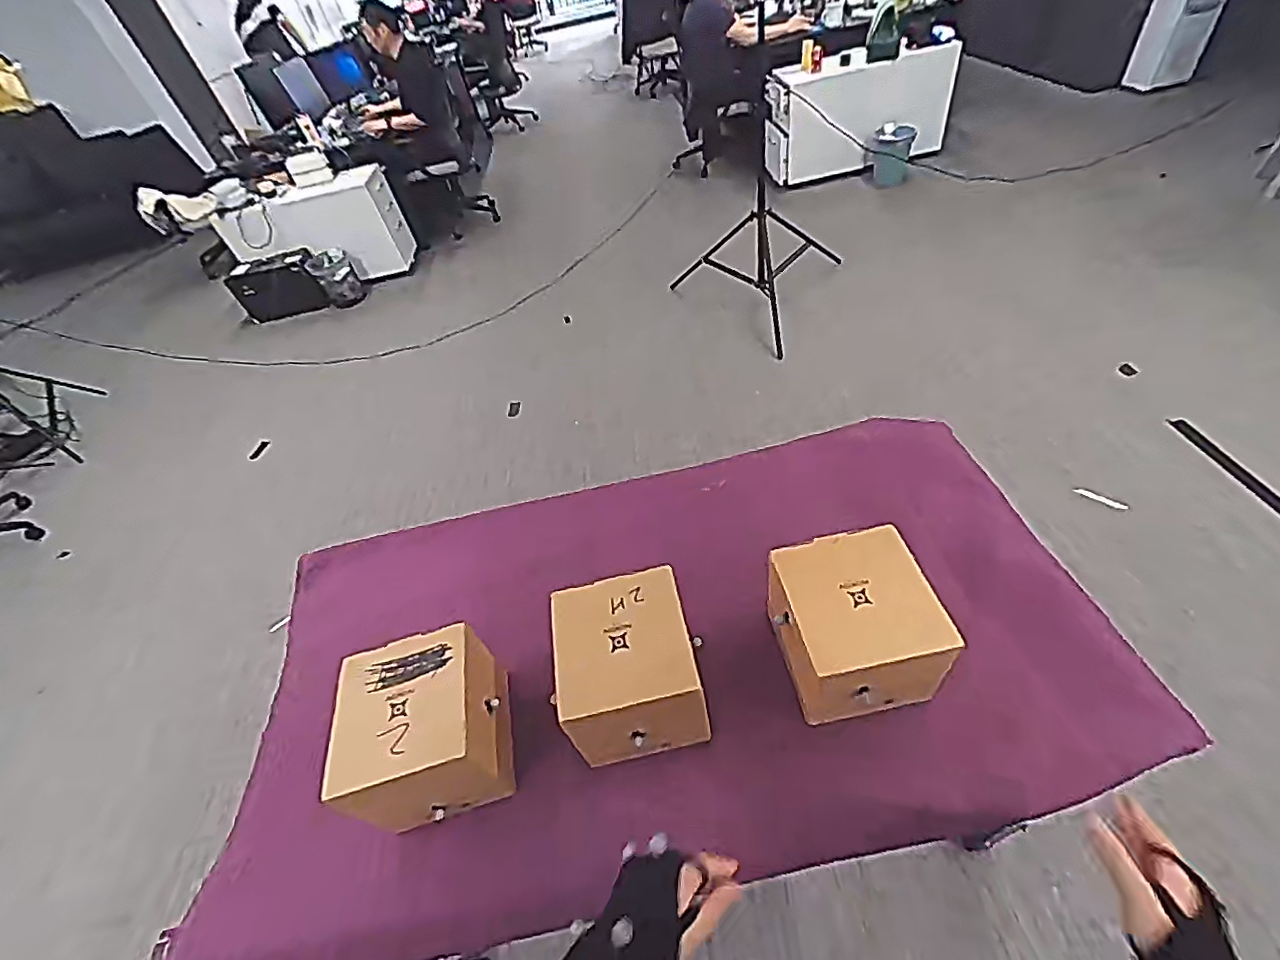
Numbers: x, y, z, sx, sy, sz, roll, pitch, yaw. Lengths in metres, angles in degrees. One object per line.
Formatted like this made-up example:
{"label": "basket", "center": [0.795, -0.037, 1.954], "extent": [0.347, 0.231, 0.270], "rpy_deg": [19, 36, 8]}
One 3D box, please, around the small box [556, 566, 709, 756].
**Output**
{"label": "small box", "center": [-0.008, 0.247, 0.722], "extent": [0.168, 0.176, 0.179], "rpy_deg": [-12, 45, 0]}

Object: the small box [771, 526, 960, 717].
{"label": "small box", "center": [0.278, 0.192, 0.709], "extent": [0.168, 0.176, 0.179], "rpy_deg": [-13, 46, 2]}
